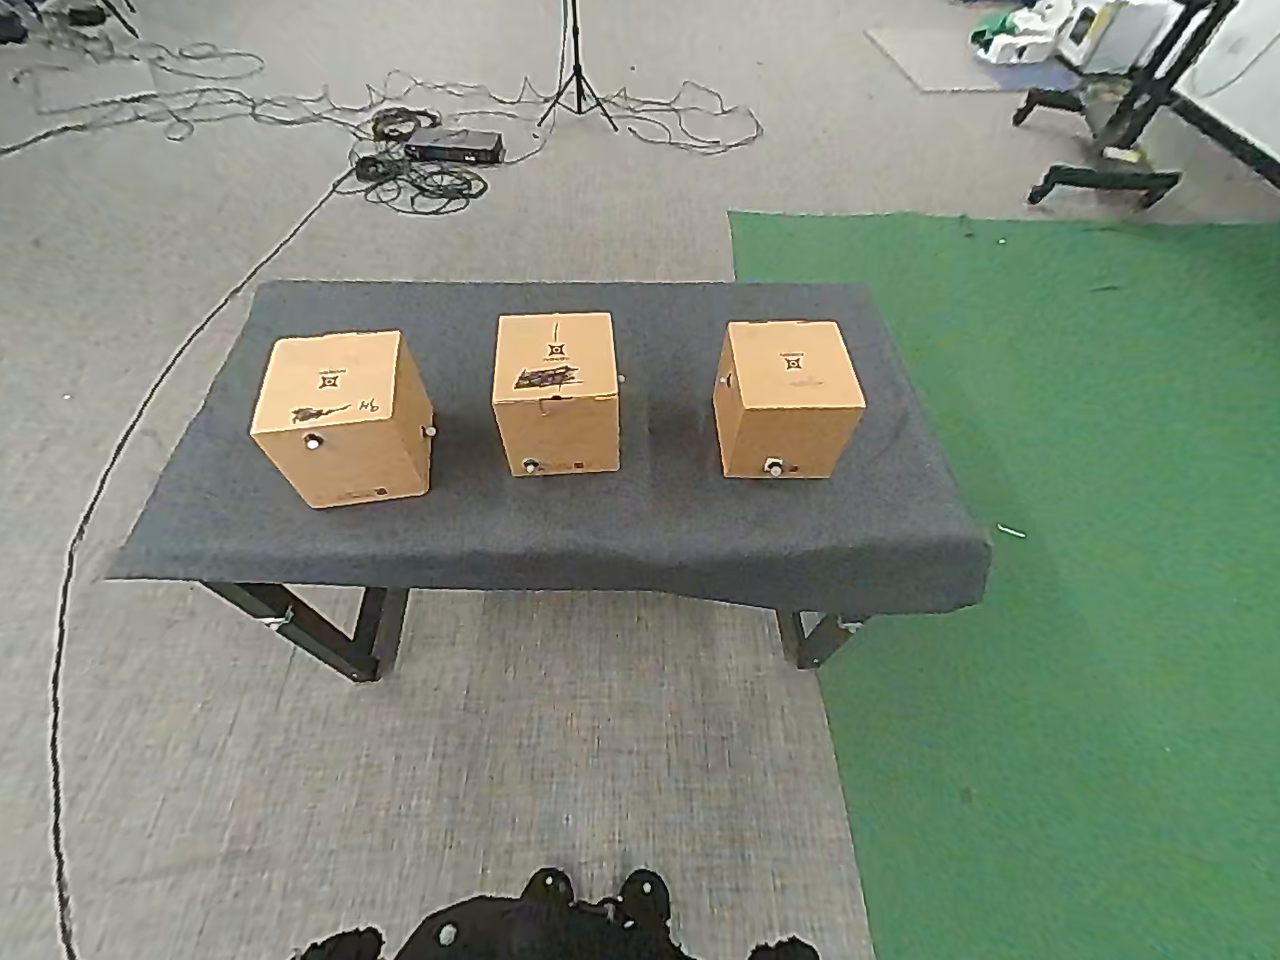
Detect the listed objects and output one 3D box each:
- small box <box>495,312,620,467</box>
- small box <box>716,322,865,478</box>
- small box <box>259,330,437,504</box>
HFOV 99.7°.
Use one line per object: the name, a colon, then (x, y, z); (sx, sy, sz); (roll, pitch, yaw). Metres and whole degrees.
small box: (-0.117, -0.130, 0.822); (0.168, 0.176, 0.179); (-3, 55, -4)
small box: (0.215, -0.120, 0.829); (0.168, 0.176, 0.179); (-2, 56, -1)
small box: (-0.401, -0.089, 0.781); (0.168, 0.176, 0.179); (-8, 54, -7)
